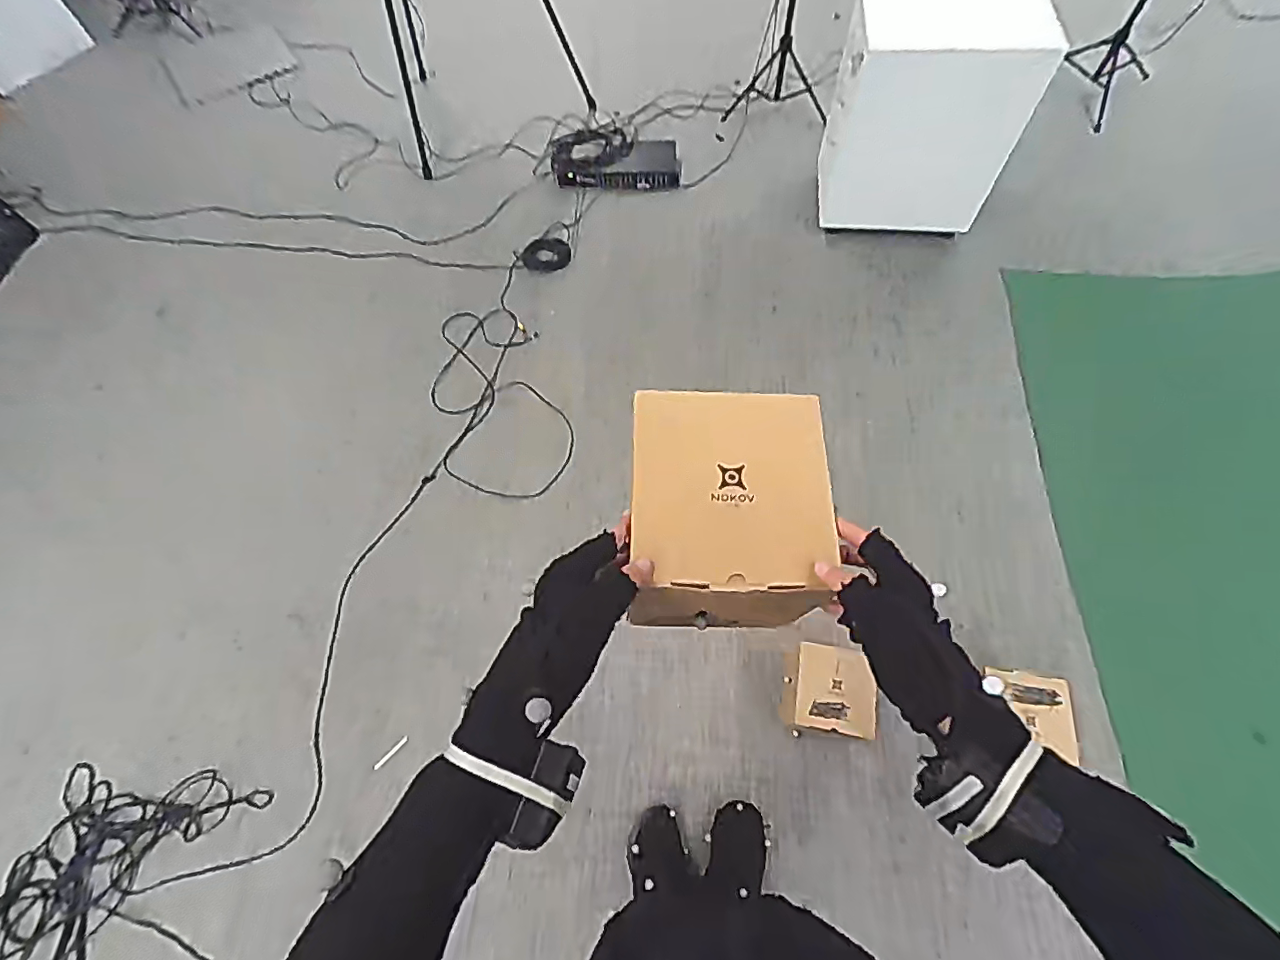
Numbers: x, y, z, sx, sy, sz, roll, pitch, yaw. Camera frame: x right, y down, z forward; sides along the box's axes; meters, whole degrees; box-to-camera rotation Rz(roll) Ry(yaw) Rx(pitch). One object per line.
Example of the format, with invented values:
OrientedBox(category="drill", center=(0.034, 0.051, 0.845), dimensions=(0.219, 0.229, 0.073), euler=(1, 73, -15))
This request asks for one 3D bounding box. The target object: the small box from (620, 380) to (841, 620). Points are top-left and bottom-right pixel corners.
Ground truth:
OrientedBox(category="small box", center=(0.067, 0.027, 0.509), dimensions=(0.168, 0.176, 0.179), euler=(1, 67, -2))

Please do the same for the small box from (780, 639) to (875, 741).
OrientedBox(category="small box", center=(0.417, 0.479, 1.221), dimensions=(0.168, 0.176, 0.179), euler=(10, 63, 8))
